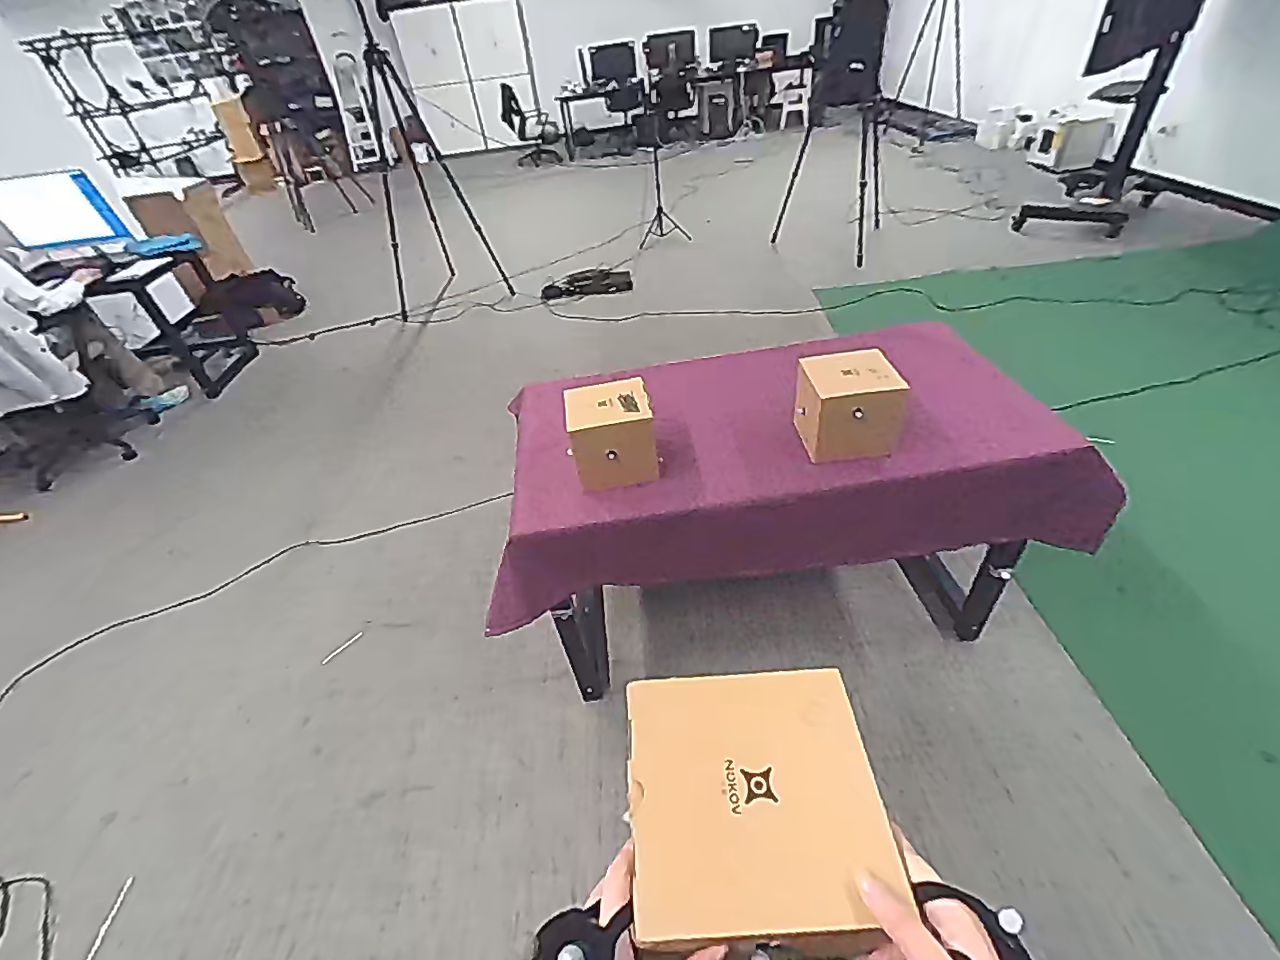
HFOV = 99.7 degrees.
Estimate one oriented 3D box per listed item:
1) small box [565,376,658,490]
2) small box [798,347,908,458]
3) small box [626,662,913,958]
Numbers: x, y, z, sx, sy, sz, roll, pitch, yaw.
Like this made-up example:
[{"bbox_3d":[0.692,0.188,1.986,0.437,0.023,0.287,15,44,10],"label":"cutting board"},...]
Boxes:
[{"bbox_3d":[-0.059,-0.100,1.176,0.179,0.176,0.168,-11,40,-1],"label":"small box"},{"bbox_3d":[0.443,-0.162,1.159,0.179,0.176,0.168,-6,41,3],"label":"small box"},{"bbox_3d":[0.082,0.268,0.438,0.179,0.176,0.168,-5,43,1],"label":"small box"}]
